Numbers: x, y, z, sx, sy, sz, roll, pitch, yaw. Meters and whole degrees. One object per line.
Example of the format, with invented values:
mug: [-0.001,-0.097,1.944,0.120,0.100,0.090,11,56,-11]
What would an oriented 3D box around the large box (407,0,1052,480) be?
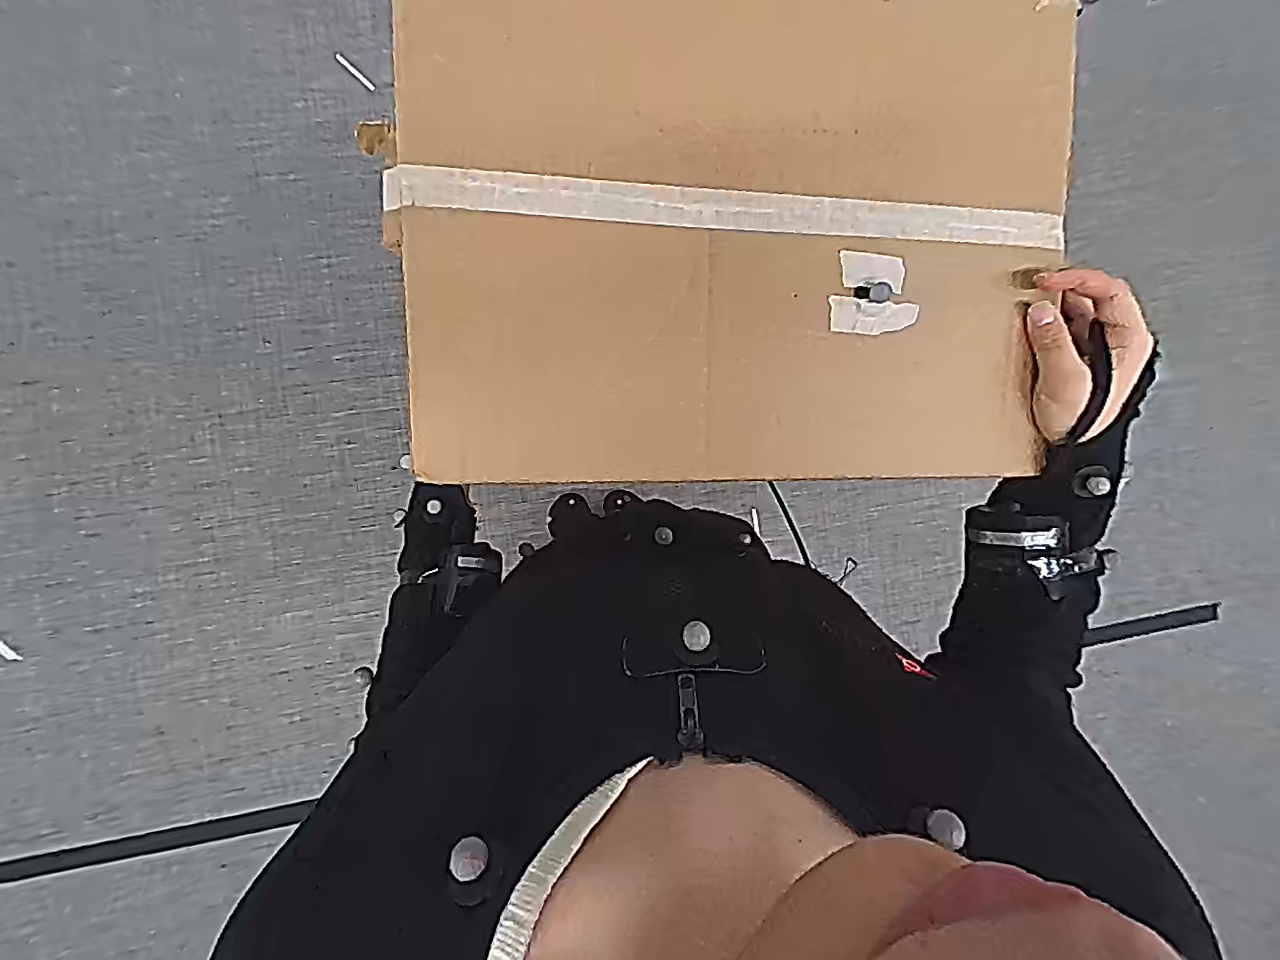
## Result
large box: [0.044,-0.173,0.471,0.408,0.320,0.320,-1,96,-12]
